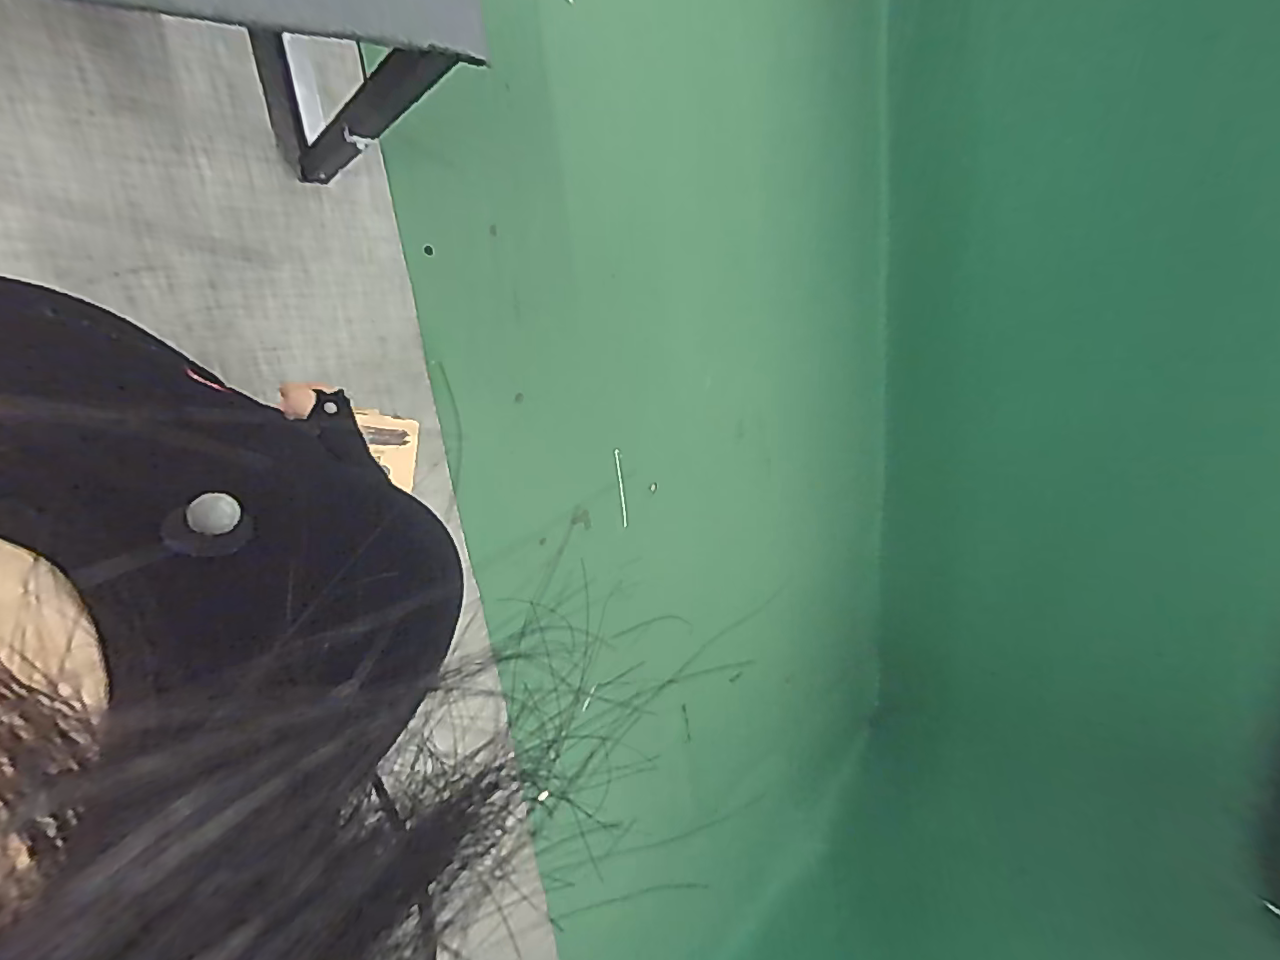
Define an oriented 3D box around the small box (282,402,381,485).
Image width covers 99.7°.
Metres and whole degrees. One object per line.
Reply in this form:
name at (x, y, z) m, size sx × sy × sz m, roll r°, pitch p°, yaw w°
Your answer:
small box at (-0.737, -0.093, 1.291) m, size 0.168 × 0.176 × 0.179 m, roll -10°, pitch 104°, yaw -44°
